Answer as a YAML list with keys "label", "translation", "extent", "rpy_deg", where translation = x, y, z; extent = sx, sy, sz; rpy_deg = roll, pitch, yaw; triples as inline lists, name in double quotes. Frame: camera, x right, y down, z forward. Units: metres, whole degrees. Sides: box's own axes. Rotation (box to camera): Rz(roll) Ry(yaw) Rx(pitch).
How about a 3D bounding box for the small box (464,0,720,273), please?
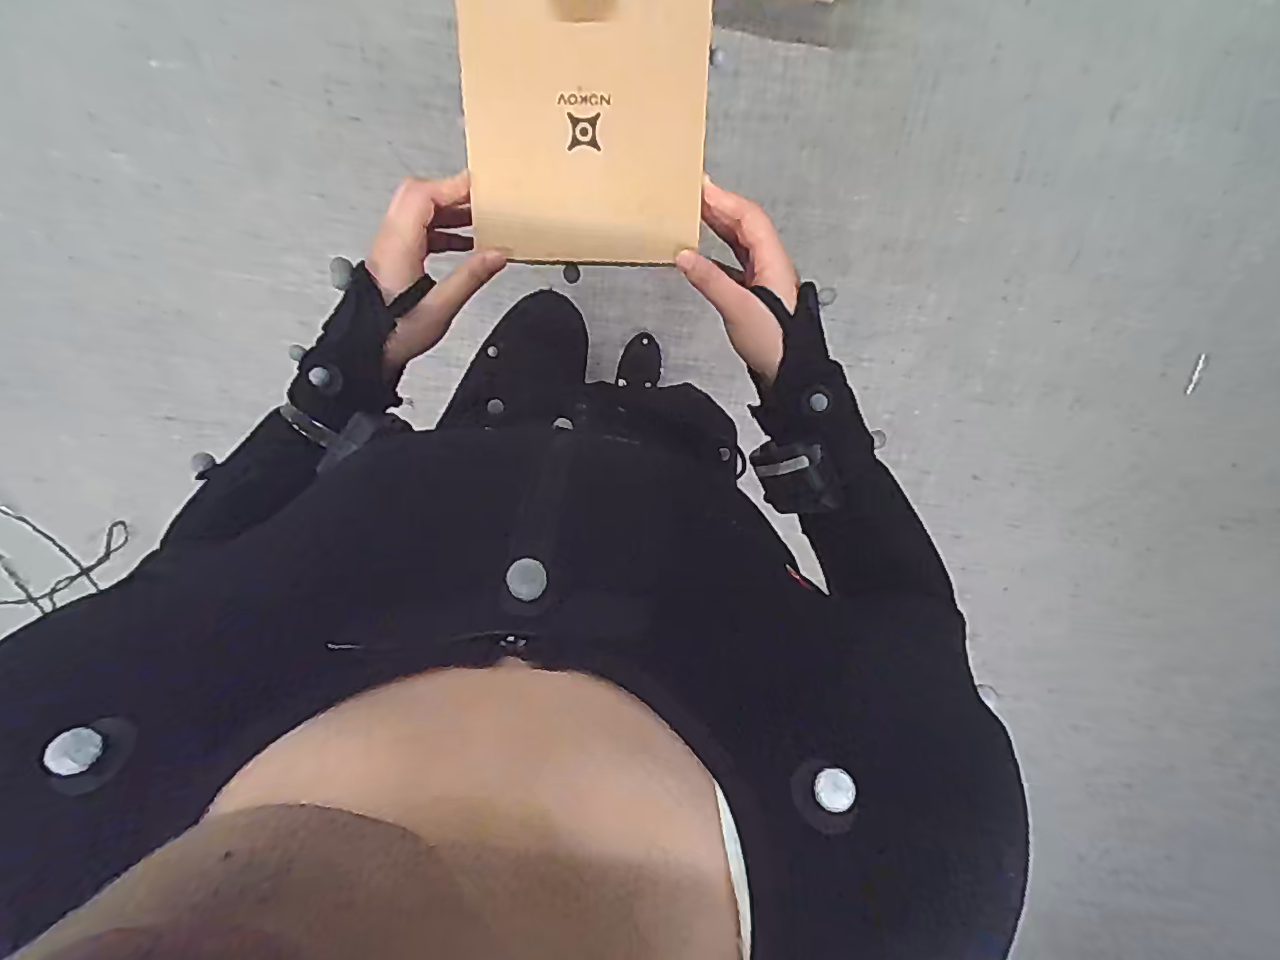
- label: "small box"
  translation: [-0.030, -0.264, 0.441]
  extent: [0.168, 0.176, 0.179]
  rpy_deg: [1, 109, 1]
